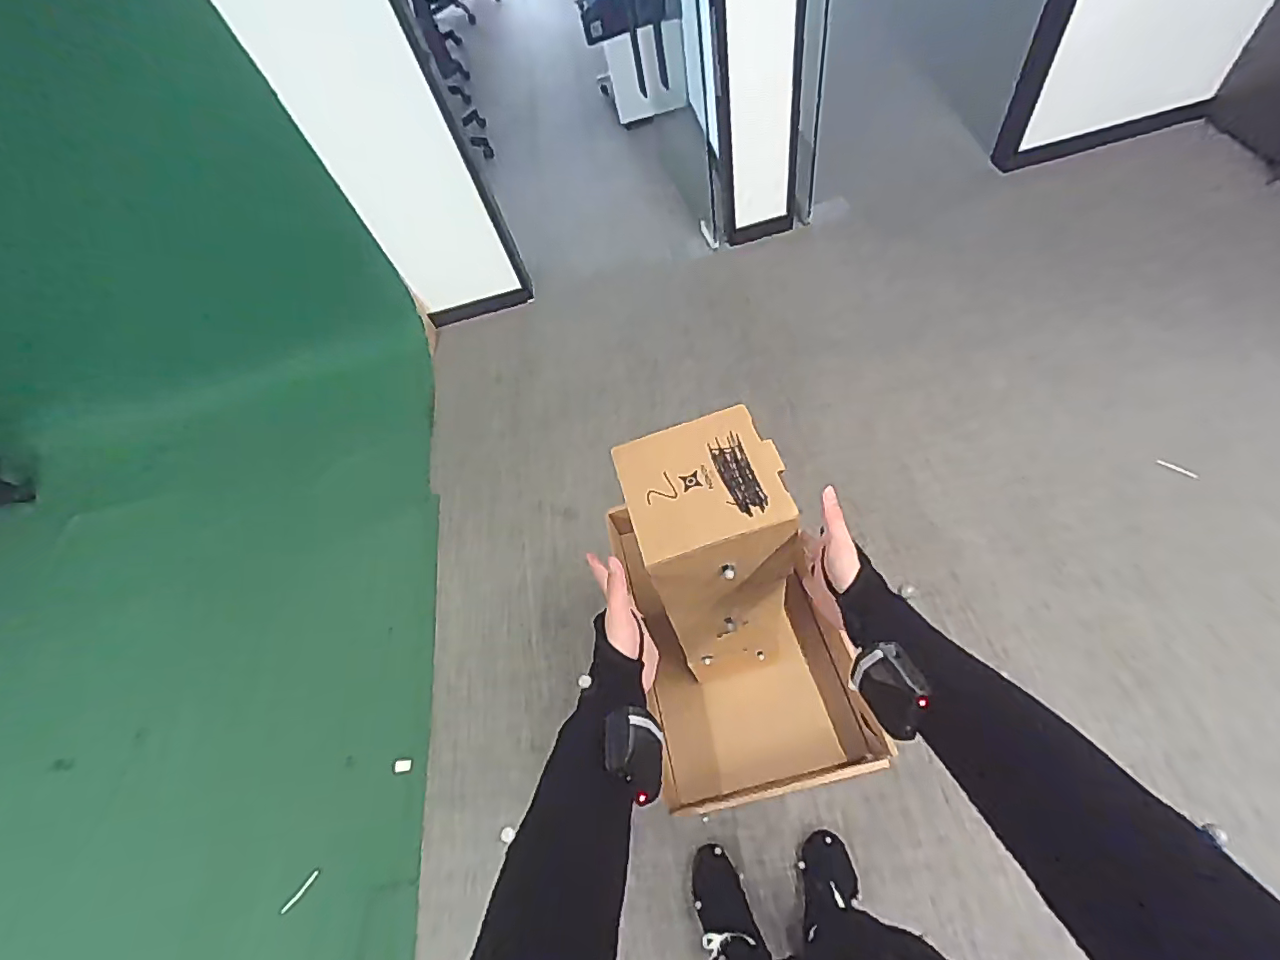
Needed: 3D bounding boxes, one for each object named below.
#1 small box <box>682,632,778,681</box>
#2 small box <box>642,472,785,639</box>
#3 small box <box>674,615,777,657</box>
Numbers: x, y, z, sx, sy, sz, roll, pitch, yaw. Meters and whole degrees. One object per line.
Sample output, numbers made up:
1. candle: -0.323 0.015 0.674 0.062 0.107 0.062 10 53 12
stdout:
1. small box: 0.169 0.291 1.090 0.179 0.176 0.168 -15 56 3
2. small box: 0.108 0.119 0.817 0.168 0.176 0.179 -15 57 3
3. small box: 0.140 0.202 0.956 0.168 0.176 0.179 -14 56 4
